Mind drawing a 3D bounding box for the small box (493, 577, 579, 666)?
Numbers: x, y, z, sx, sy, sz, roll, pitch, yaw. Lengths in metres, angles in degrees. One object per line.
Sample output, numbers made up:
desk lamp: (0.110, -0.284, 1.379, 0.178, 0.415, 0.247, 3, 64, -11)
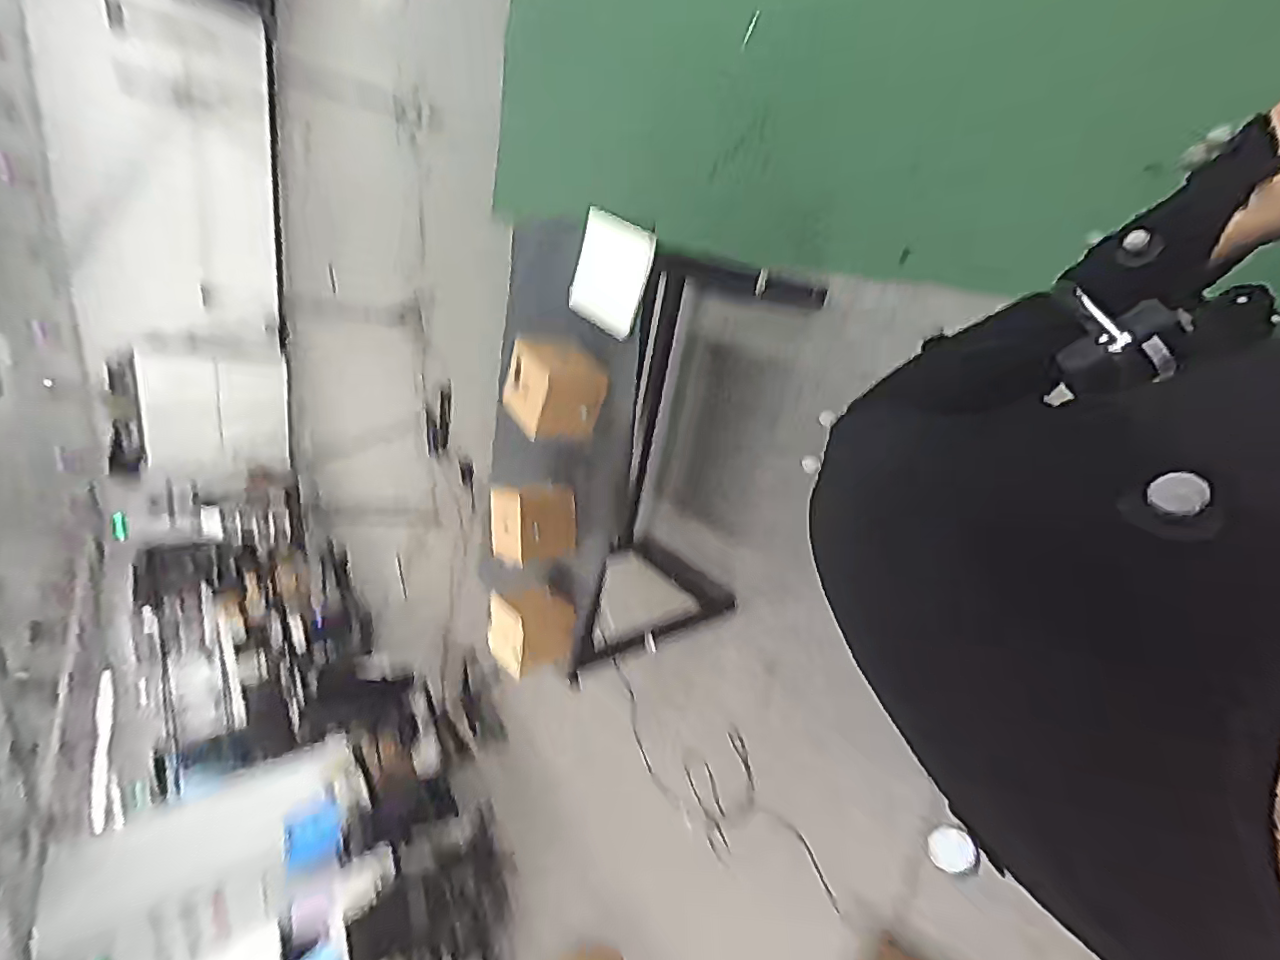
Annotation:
small box: (-0.293, 0.386, 1.516, 0.179, 0.176, 0.168, 26, 114, 45)

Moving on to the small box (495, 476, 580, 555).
small box: (-0.275, 0.089, 1.456, 0.168, 0.176, 0.179, 10, 102, 48)

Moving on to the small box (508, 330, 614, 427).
small box: (-0.193, -0.243, 1.307, 0.179, 0.176, 0.168, 49, 130, 34)
